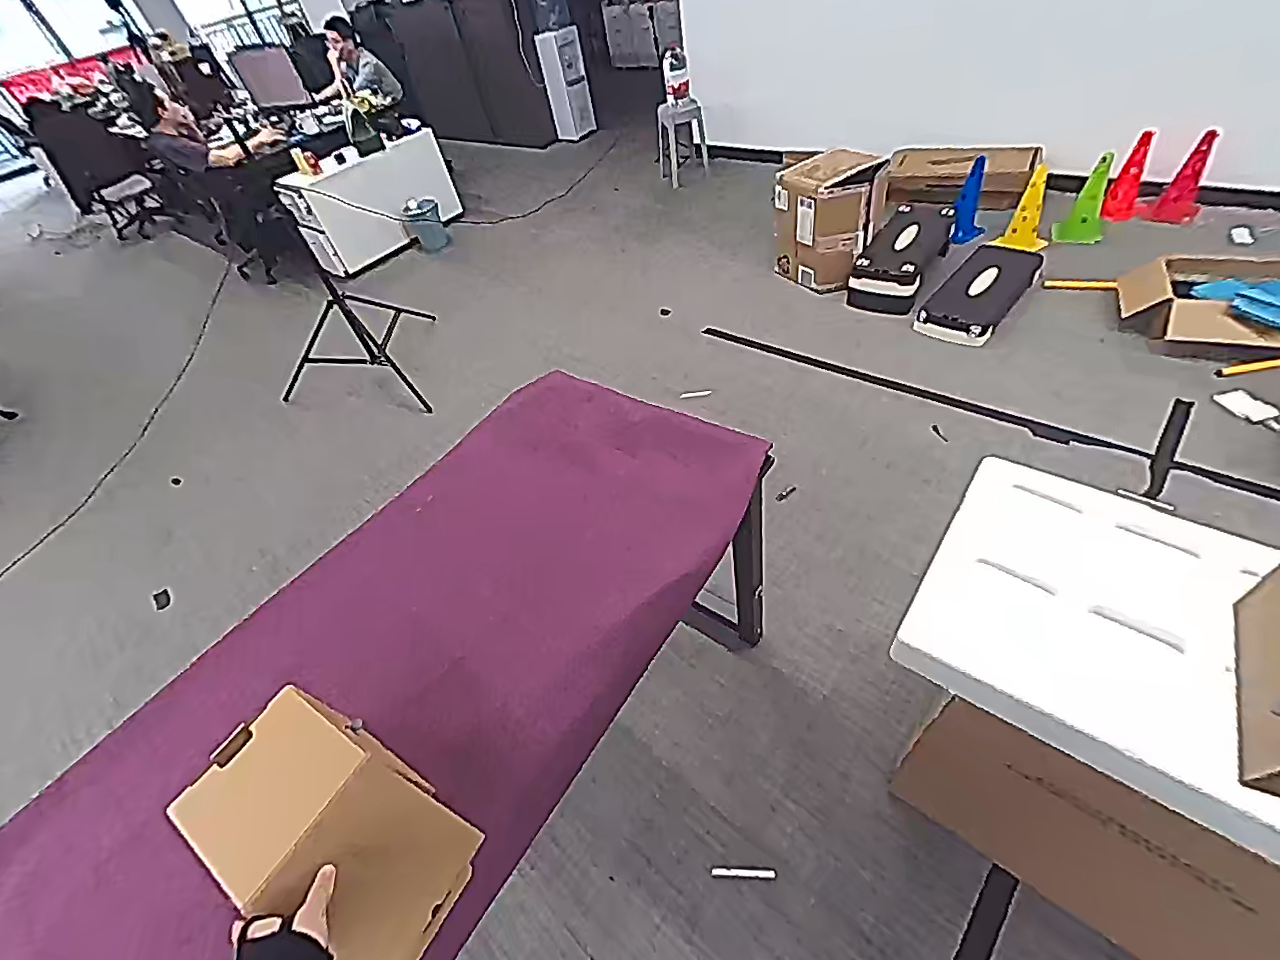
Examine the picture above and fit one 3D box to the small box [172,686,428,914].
[{"bbox_3d":[-0.402,0.395,0.667,0.179,0.176,0.168,19,54,29],"label":"small box"}]
